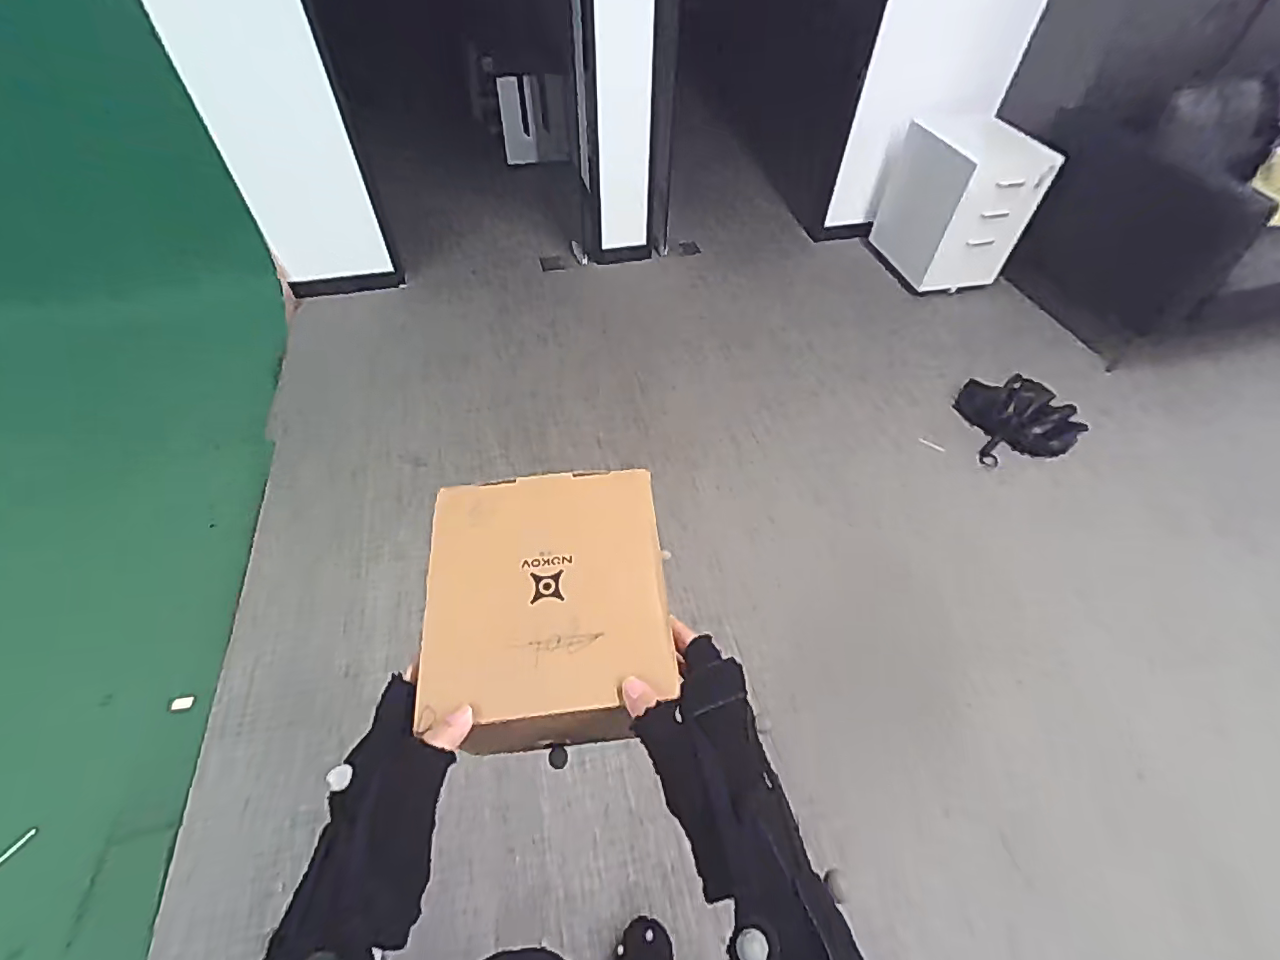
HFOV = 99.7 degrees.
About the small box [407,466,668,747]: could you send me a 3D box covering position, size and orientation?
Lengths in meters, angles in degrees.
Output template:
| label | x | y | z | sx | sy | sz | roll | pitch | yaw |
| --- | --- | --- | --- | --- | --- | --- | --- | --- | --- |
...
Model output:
| label | x | y | z | sx | sy | sz | roll | pitch | yaw |
| --- | --- | --- | --- | --- | --- | --- | --- | --- | --- |
| small box | -0.071 | 0.110 | 0.448 | 0.168 | 0.176 | 0.179 | -5 | 59 | -2 |
